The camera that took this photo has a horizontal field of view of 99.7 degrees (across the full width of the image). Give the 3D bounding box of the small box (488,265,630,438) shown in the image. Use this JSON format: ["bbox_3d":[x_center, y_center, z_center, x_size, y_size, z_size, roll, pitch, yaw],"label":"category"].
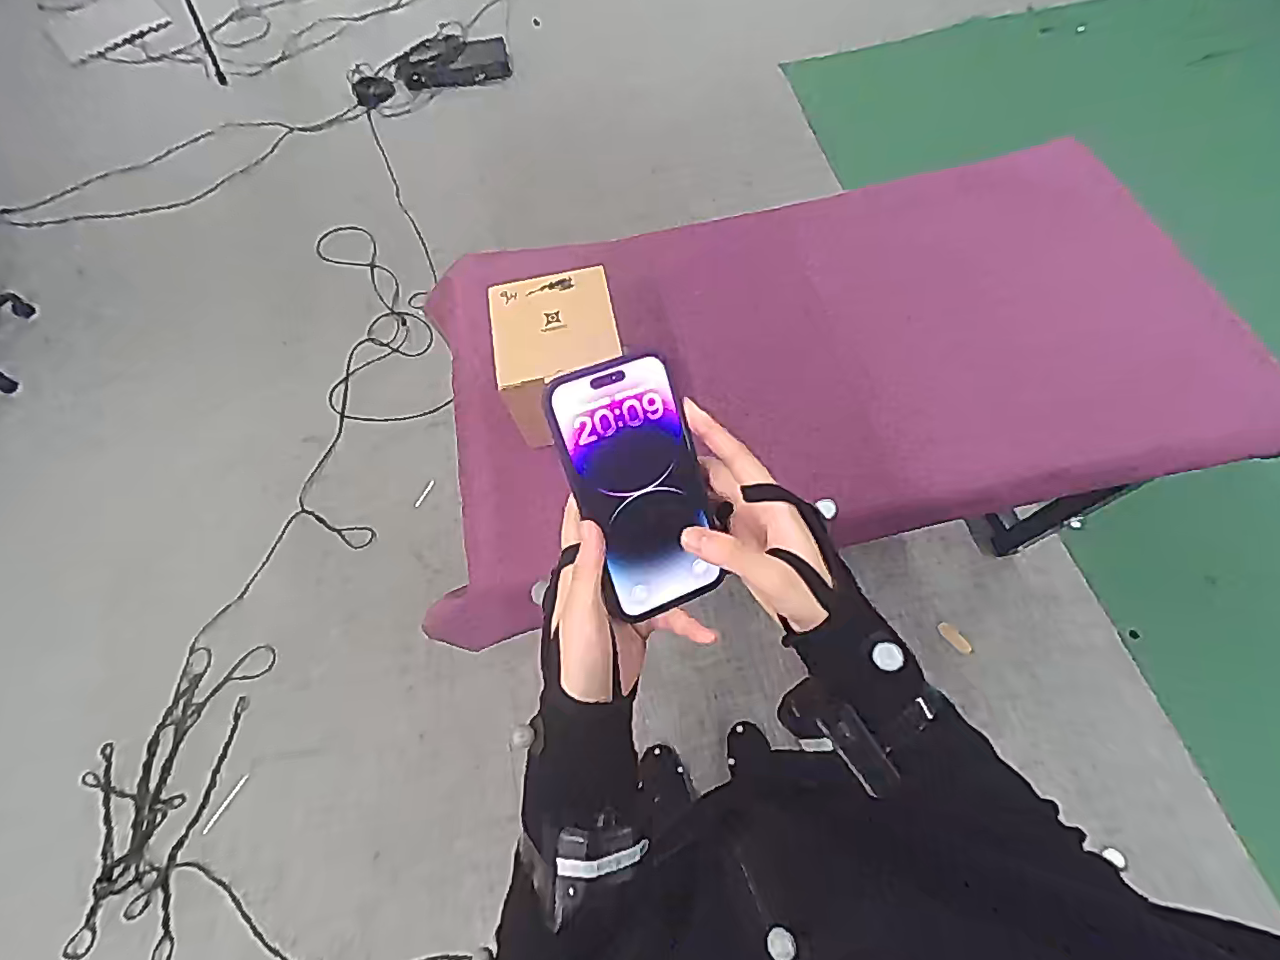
[{"bbox_3d":[-0.113,-0.176,0.795,0.168,0.176,0.179,-11,66,-1],"label":"small box"}]
